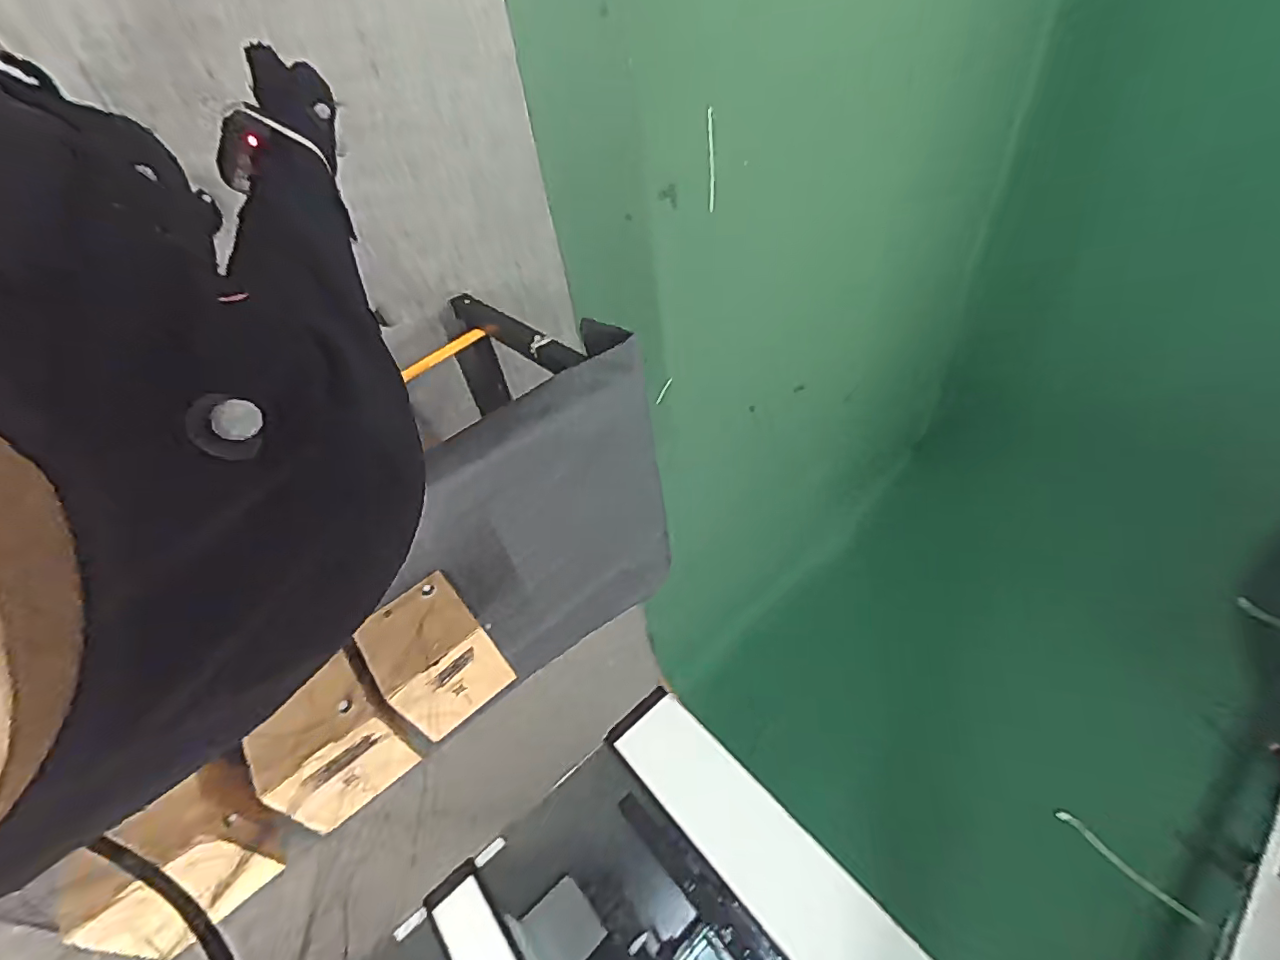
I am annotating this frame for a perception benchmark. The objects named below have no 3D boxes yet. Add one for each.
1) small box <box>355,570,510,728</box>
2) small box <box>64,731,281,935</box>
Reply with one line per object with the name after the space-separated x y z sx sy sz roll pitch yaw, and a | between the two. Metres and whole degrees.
-0.359 0.282 0.940 0.168 0.176 0.179 -35 139 -22 | small box
-0.670 0.505 0.787 0.168 0.176 0.179 -35 138 -23 | small box
